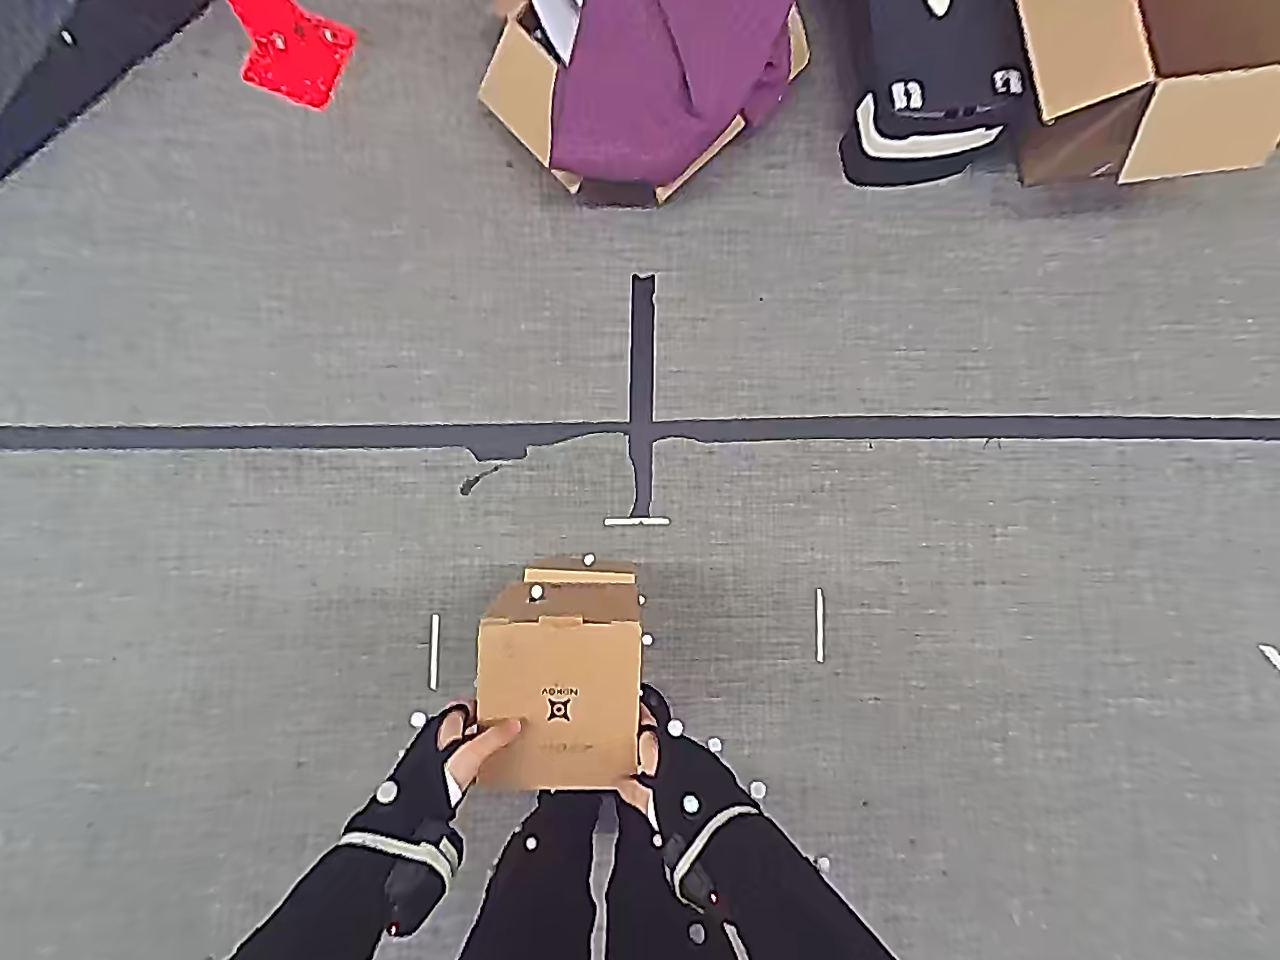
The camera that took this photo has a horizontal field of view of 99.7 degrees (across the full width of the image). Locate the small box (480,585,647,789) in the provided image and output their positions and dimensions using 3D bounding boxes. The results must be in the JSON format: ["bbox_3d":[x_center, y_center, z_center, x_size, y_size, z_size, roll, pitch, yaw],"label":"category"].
[{"bbox_3d":[-0.081,0.225,0.629,0.168,0.176,0.179,2,93,-2],"label":"small box"}]

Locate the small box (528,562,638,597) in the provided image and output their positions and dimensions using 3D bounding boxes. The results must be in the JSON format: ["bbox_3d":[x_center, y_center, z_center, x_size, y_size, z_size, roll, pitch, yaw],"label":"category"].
[{"bbox_3d":[-0.094,0.228,0.875,0.168,0.176,0.179,4,87,-1],"label":"small box"}]
